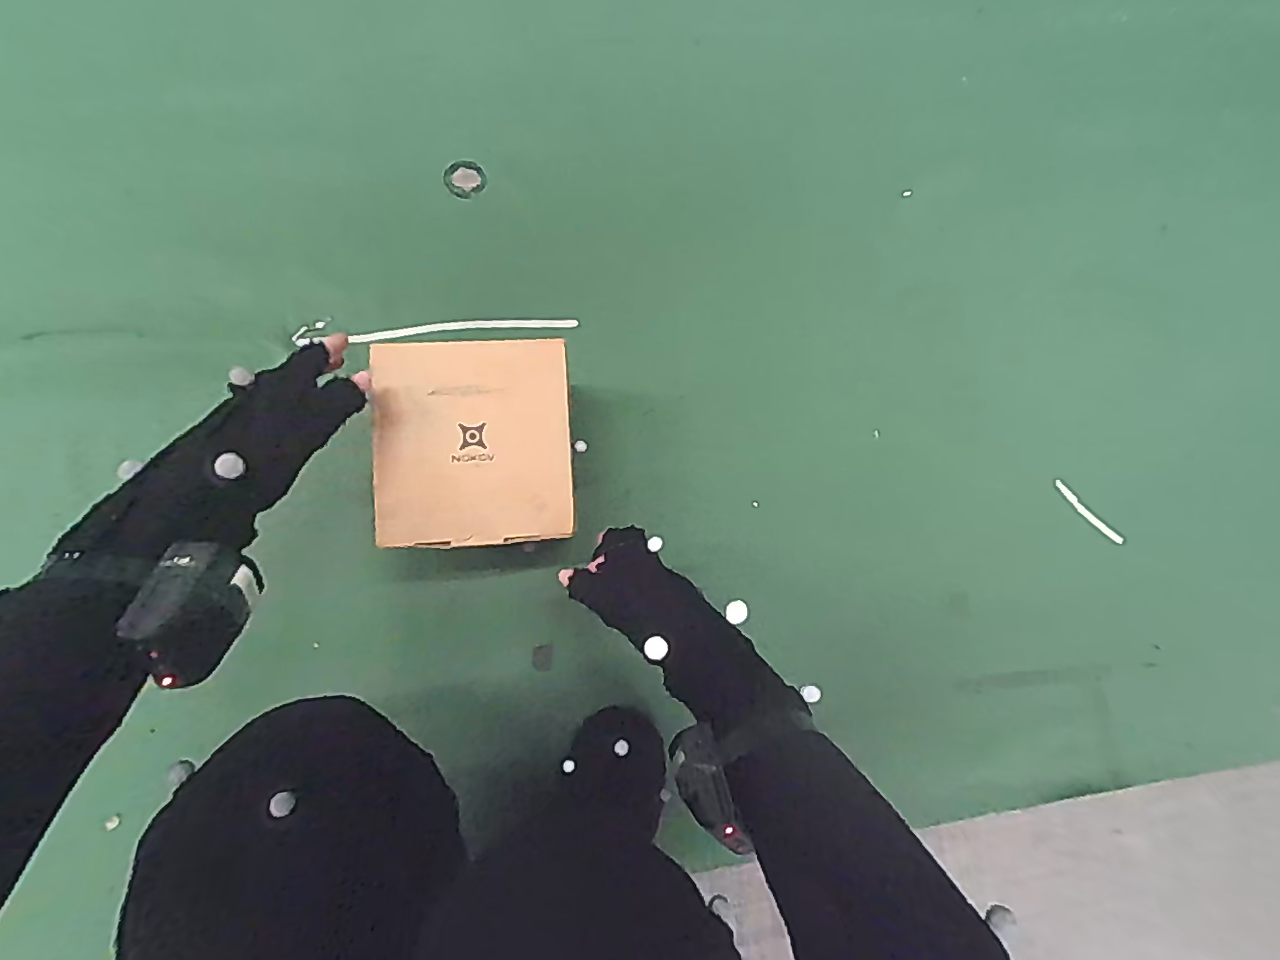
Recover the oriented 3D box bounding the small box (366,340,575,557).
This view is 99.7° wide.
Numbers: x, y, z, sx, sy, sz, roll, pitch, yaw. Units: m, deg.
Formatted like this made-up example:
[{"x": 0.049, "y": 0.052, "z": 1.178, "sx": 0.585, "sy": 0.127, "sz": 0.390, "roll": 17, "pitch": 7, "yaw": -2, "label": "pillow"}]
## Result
[{"x": -0.147, "y": -0.022, "z": 0.521, "sx": 0.168, "sy": 0.176, "sz": 0.179, "roll": -1, "pitch": 86, "yaw": -8, "label": "small box"}]
